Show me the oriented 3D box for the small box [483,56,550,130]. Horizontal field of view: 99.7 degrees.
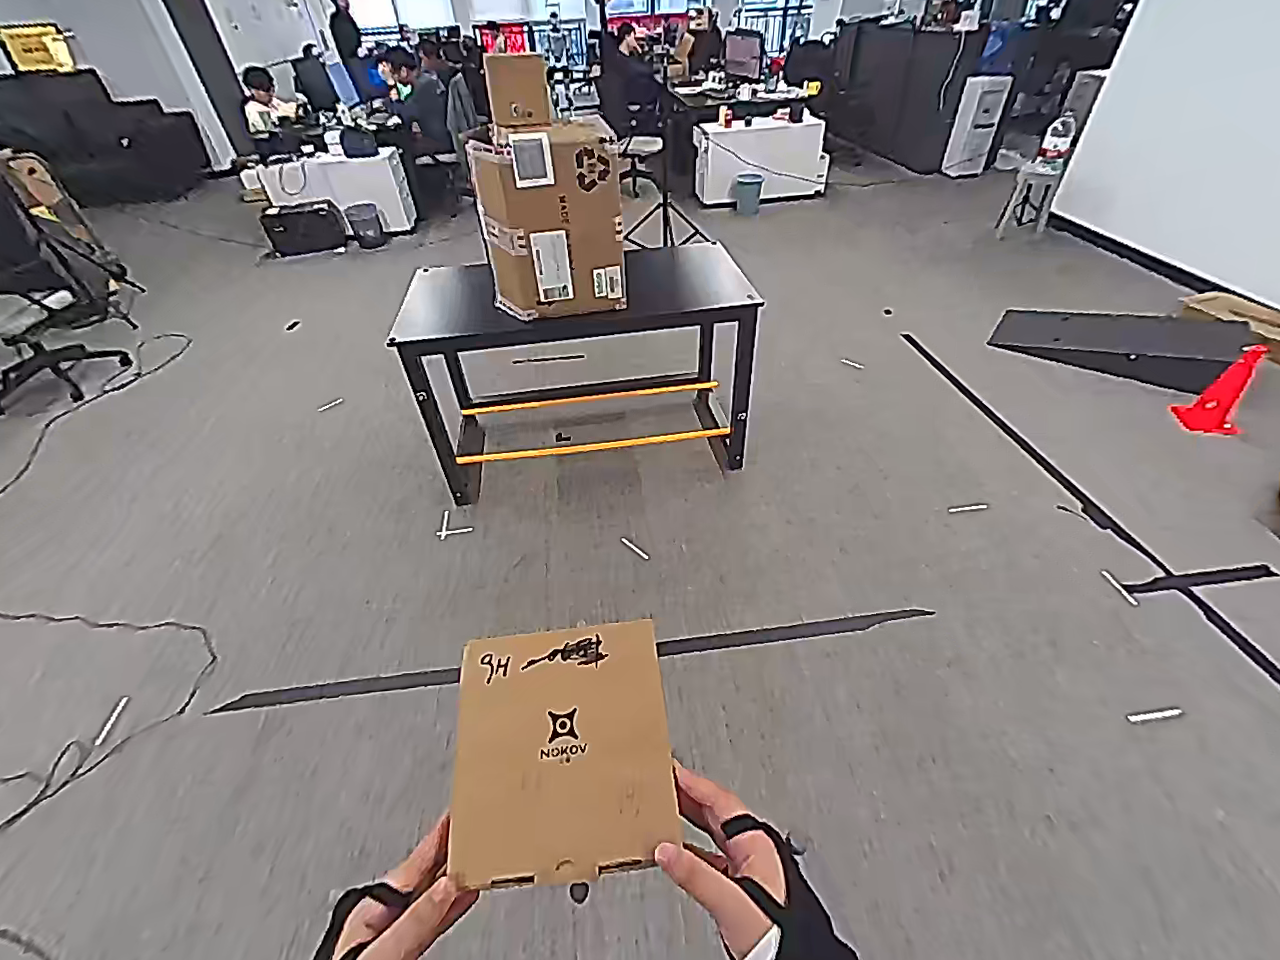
[{"bbox_3d":[-0.367,-1.151,1.607,0.168,0.176,0.179,-11,41,-10],"label":"small box"}]
